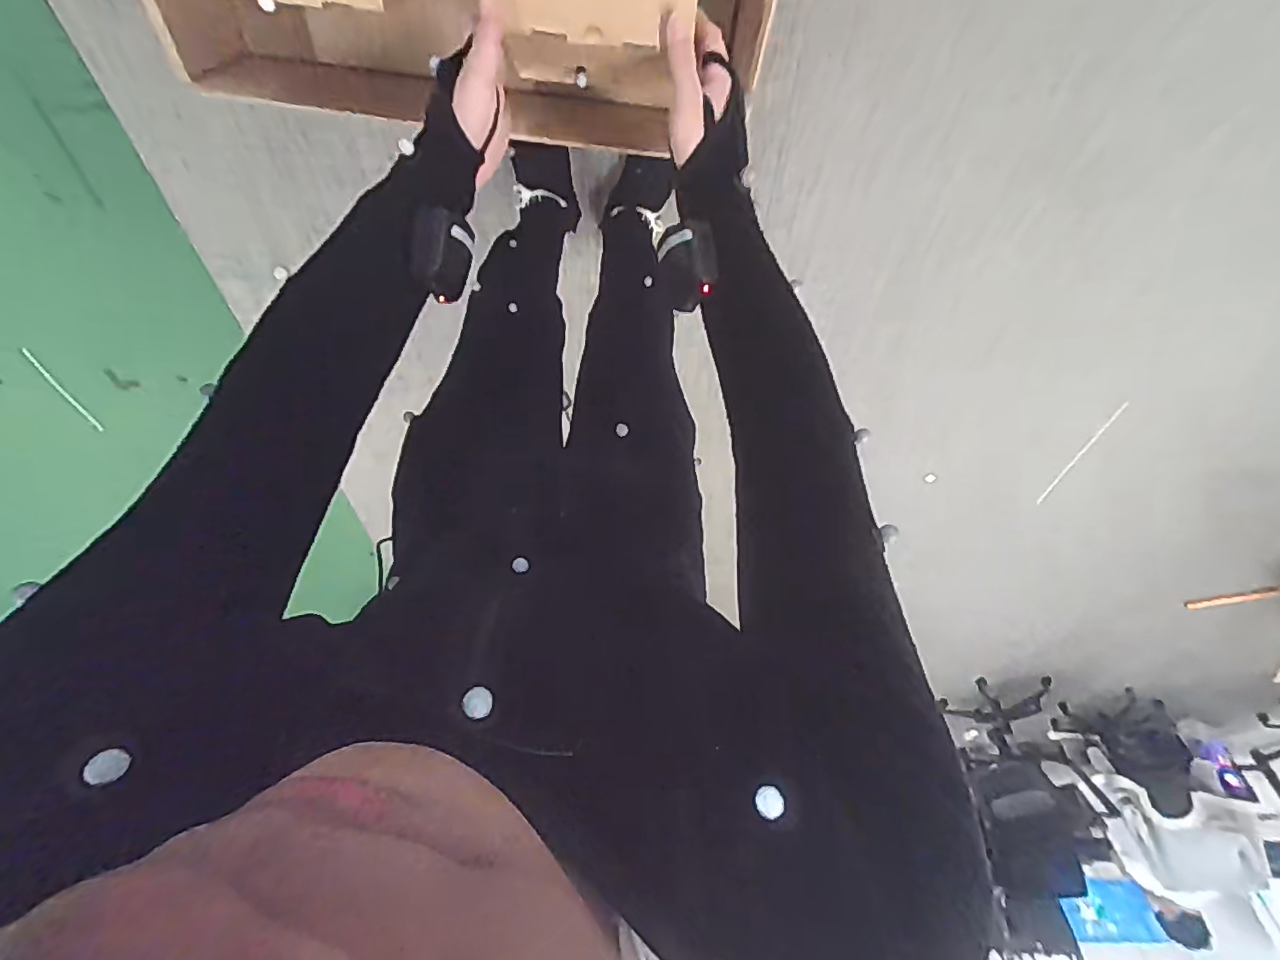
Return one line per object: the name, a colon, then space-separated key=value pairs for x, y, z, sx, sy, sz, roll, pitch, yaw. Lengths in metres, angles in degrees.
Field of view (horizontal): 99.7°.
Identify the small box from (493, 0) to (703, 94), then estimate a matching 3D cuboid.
small box: x=-0.034 y=-0.464 z=0.468 sx=0.168 sy=0.176 sz=0.179 roll=3 pitch=117 yaw=-7
